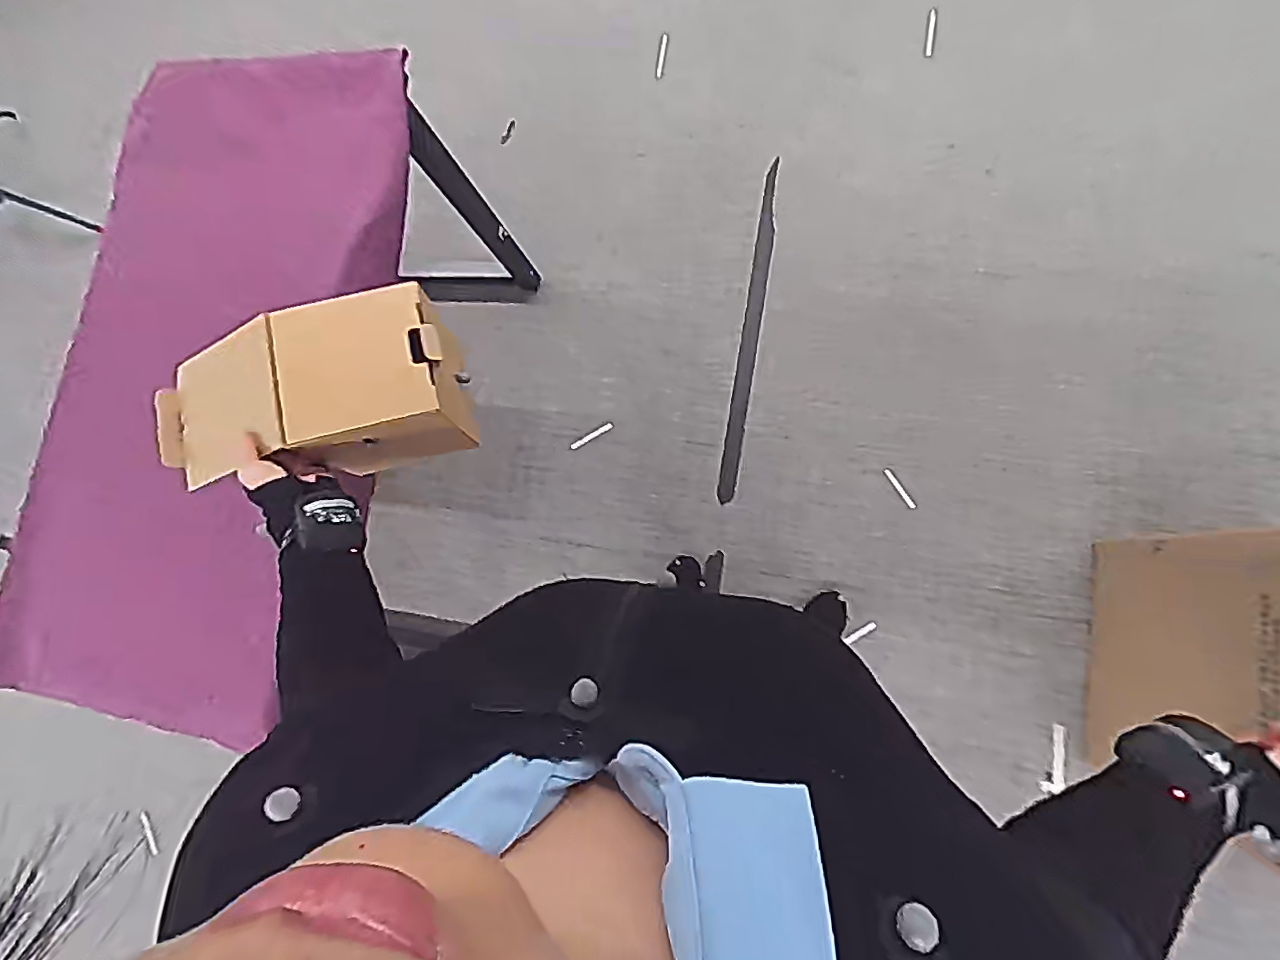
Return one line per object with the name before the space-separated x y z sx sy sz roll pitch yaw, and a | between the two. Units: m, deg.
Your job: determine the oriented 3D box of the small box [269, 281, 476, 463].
small box | -0.329 -0.126 0.692 0.179 0.176 0.168 -11 82 -3
